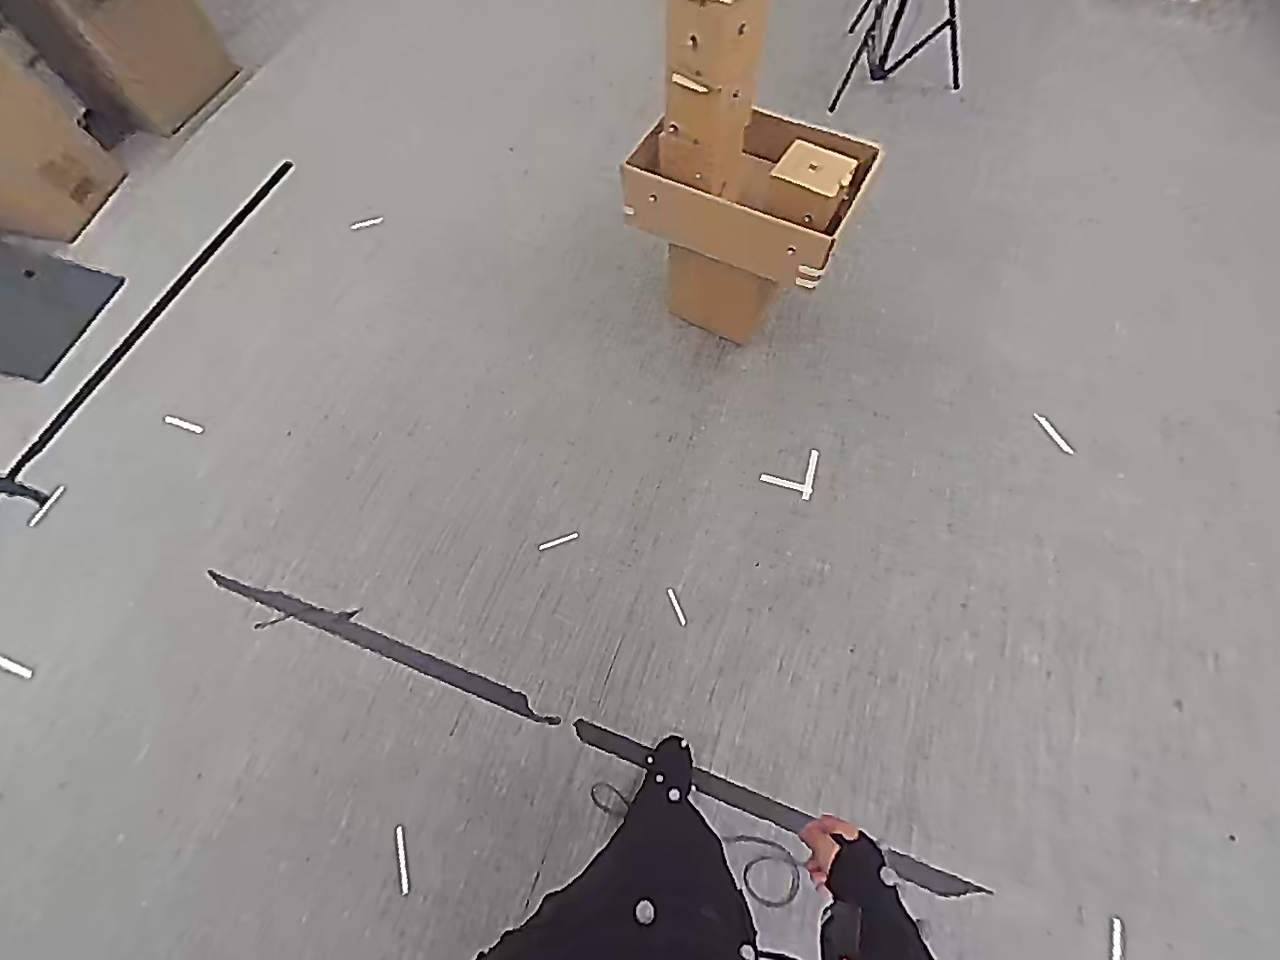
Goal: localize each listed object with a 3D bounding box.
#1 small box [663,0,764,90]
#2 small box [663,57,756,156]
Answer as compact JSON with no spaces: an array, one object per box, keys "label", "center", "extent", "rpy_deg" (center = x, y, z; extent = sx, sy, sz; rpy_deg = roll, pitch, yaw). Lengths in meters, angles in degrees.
[{"label":"small box","center":[0.169,-1.040,1.236],"extent":[0.168,0.176,0.179],"rpy_deg":[37,72,16]},{"label":"small box","center":[0.175,-0.977,1.388],"extent":[0.168,0.176,0.179],"rpy_deg":[33,70,15]}]
